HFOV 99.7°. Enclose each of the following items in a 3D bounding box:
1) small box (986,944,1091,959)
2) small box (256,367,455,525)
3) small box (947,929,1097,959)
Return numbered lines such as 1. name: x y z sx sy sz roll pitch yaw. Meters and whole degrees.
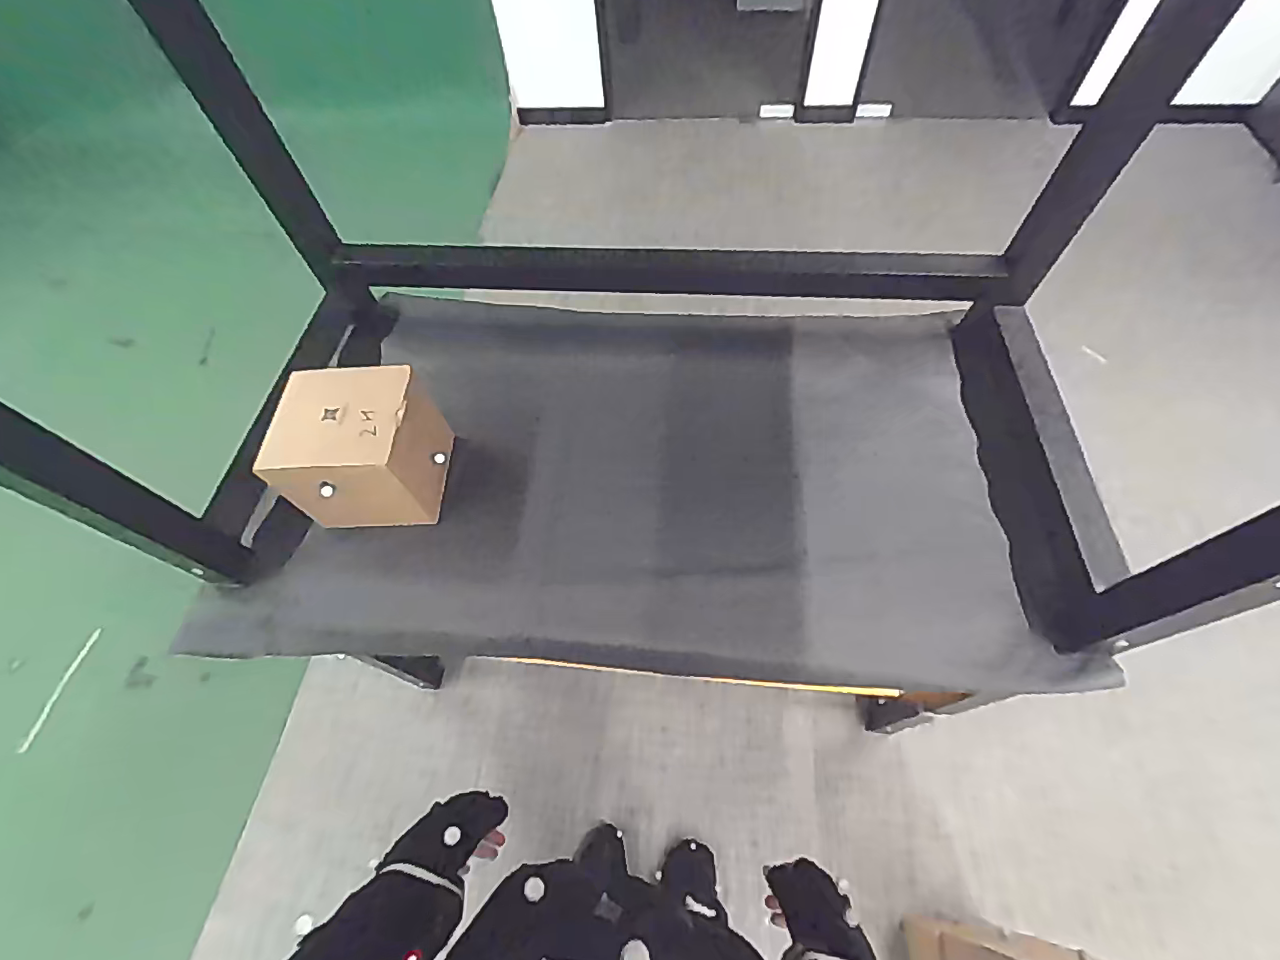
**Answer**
1. small box: 0.592 0.746 0.712 0.168 0.176 0.179 3 59 7
2. small box: -0.391 -0.042 0.780 0.179 0.176 0.168 -2 60 2
3. small box: 0.615 0.837 0.847 0.168 0.176 0.179 1 58 4
